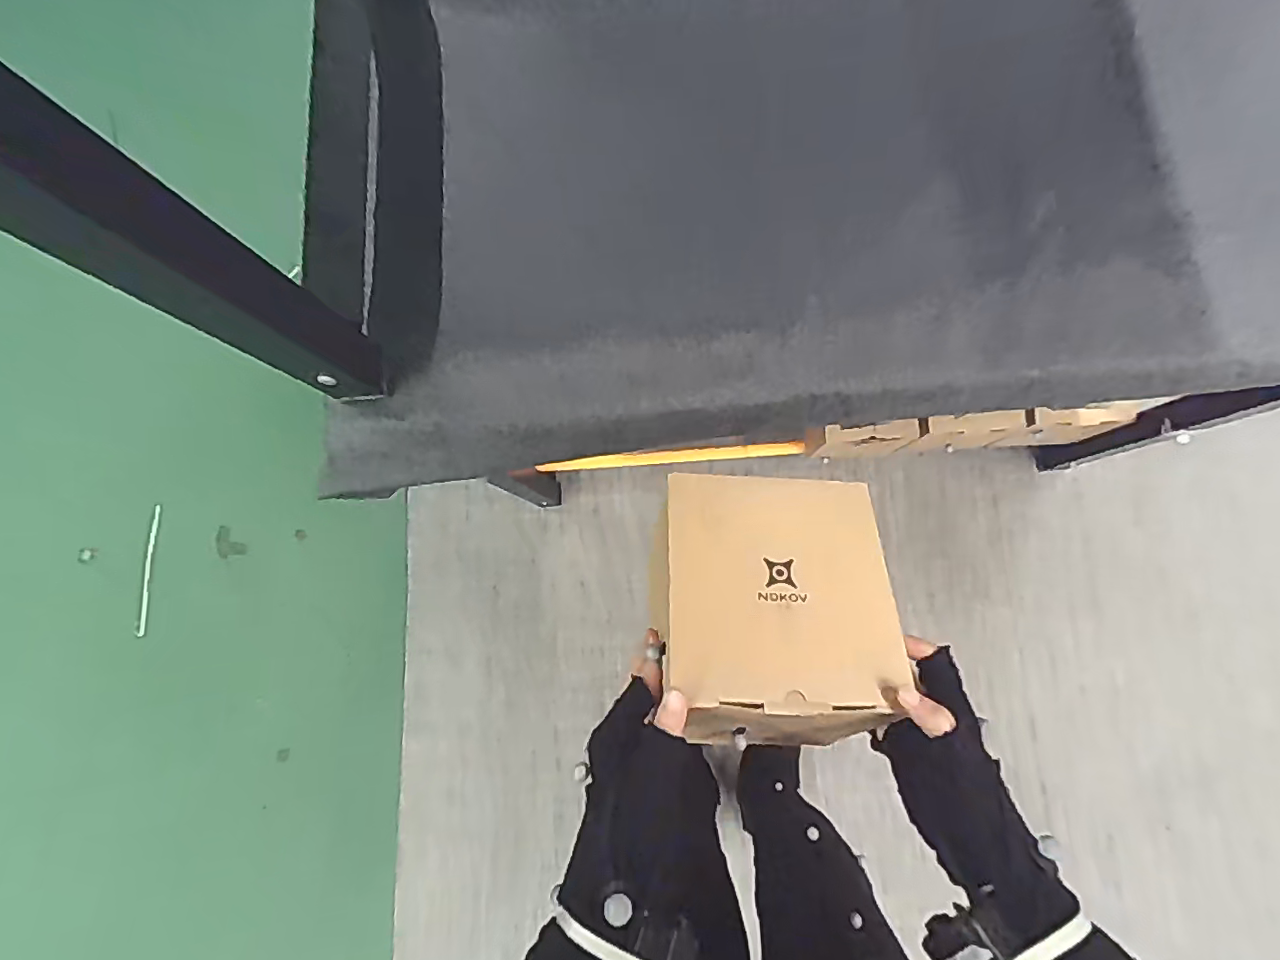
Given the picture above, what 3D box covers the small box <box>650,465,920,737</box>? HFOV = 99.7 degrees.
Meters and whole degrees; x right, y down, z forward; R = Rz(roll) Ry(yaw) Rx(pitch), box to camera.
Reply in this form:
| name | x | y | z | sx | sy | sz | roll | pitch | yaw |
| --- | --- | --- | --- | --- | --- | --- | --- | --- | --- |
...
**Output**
| name | x | y | z | sx | sy | sz | roll | pitch | yaw |
| --- | --- | --- | --- | --- | --- | --- | --- | --- | --- |
| small box | 0.097 | 0.108 | 0.460 | 0.168 | 0.176 | 0.179 | 2 | 57 | -3 |
